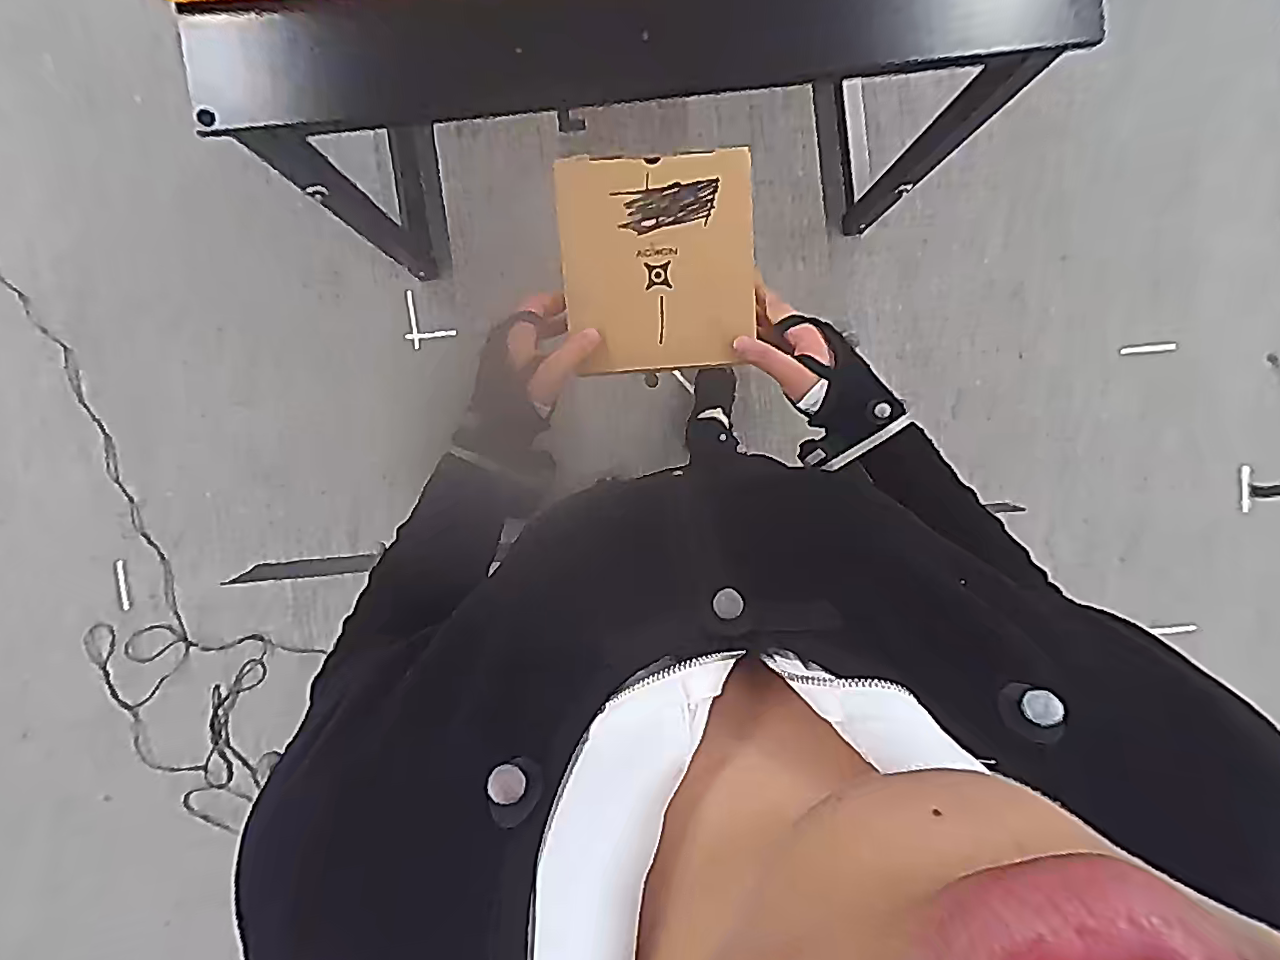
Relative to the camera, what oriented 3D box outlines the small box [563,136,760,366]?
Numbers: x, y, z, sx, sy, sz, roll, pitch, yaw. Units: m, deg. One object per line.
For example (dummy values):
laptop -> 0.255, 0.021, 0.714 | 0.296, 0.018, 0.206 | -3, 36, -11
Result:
small box -> 0.017, -0.210, 0.540 | 0.168, 0.176, 0.179 | -4, 101, -1
